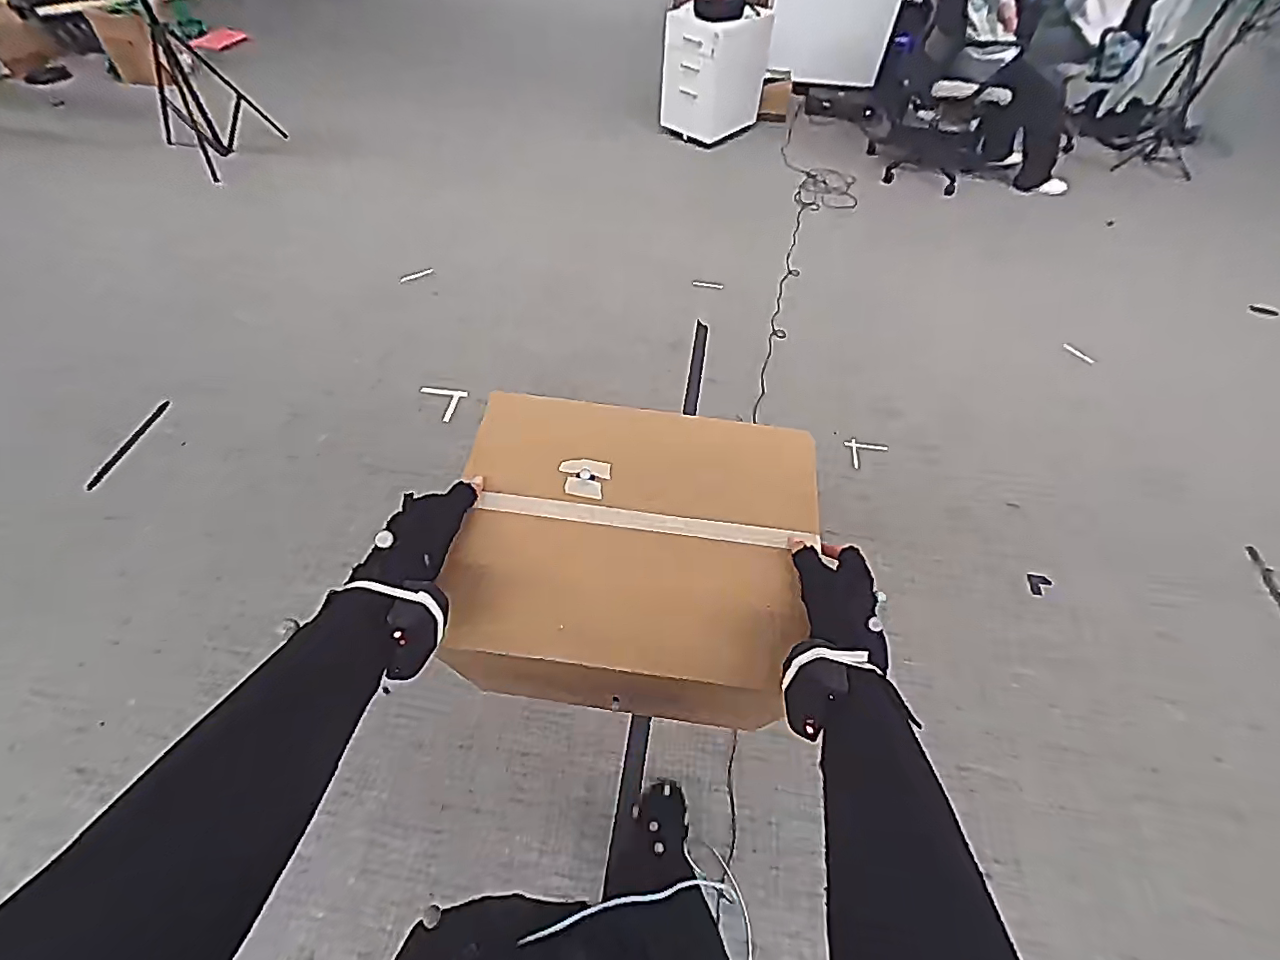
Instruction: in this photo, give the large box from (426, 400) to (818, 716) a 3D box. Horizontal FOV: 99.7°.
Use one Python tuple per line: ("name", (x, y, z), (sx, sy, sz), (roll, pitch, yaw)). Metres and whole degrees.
("large box", (-0.007, 0.124, 0.741), (0.408, 0.320, 0.320), (7, 59, 2))
